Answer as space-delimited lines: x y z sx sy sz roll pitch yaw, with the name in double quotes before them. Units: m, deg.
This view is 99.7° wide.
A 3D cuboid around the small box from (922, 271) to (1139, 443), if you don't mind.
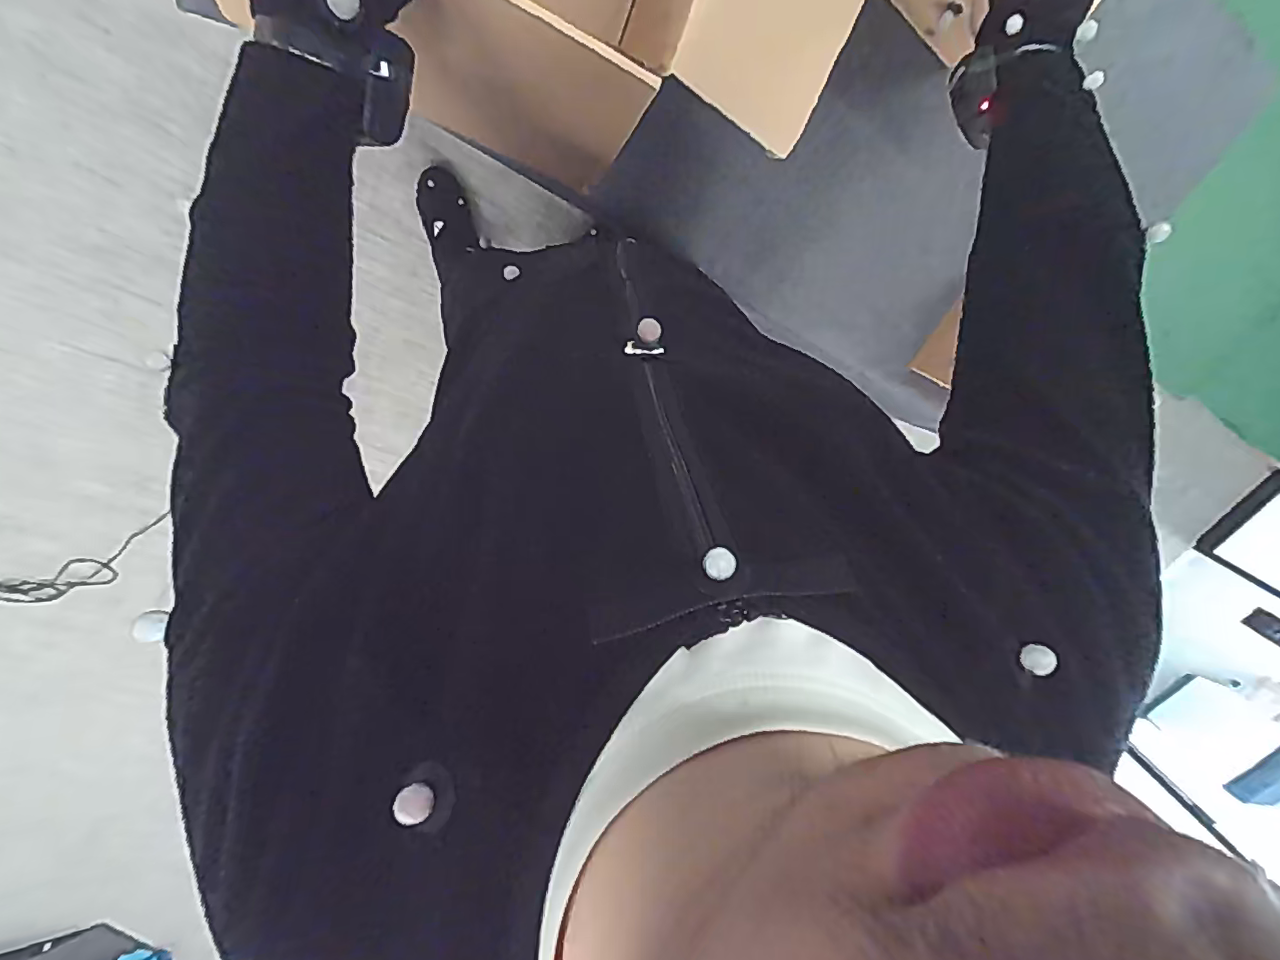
"small box" 0.566 -0.188 0.815 0.168 0.176 0.179 19 113 -22
